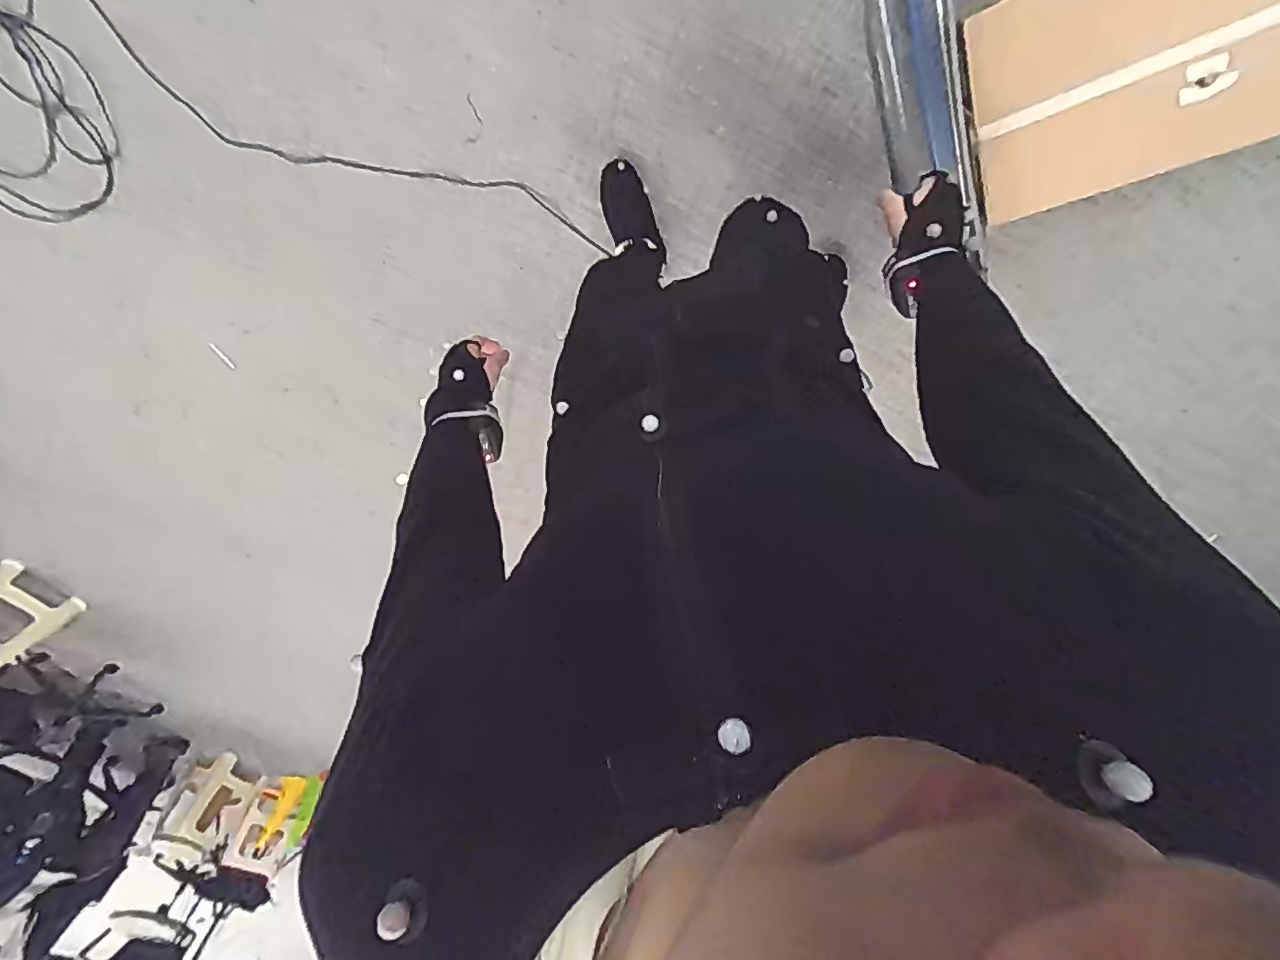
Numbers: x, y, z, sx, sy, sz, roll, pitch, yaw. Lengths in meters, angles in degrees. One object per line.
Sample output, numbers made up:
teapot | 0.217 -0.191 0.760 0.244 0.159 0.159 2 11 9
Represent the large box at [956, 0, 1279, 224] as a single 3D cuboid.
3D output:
large box | 0.762 -0.674 0.859 0.408 0.320 0.320 -9 125 32
